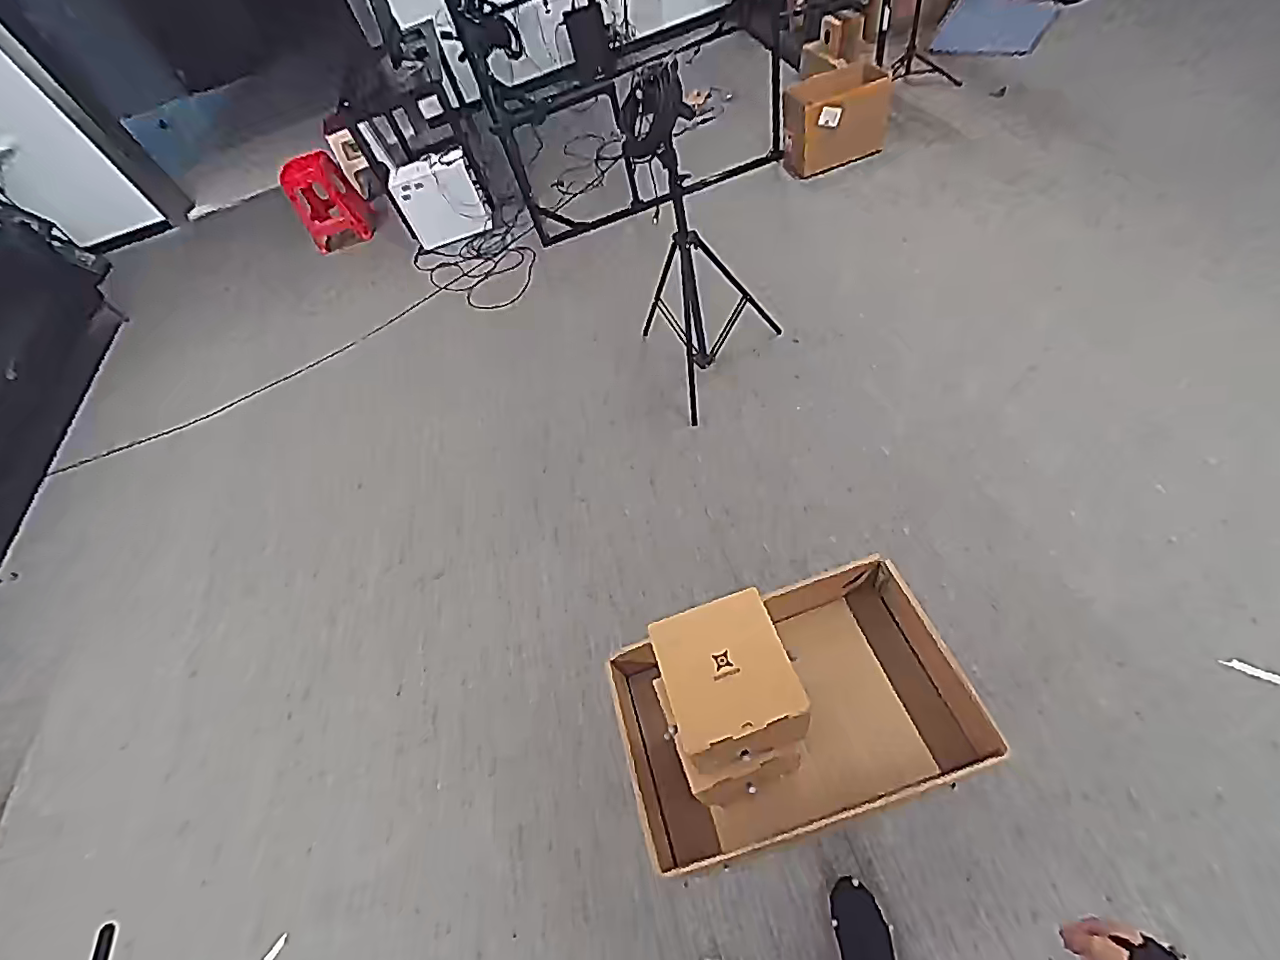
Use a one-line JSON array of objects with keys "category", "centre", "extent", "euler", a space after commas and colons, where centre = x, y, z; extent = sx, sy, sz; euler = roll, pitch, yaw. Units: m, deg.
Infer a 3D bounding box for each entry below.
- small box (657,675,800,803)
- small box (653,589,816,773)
[{"category": "small box", "centre": [0.143, 0.402, 0.888], "extent": [0.168, 0.176, 0.179], "euler": [-23, 53, -2]}, {"category": "small box", "centre": [0.130, 0.289, 0.768], "extent": [0.168, 0.176, 0.179], "euler": [-21, 53, -1]}]
